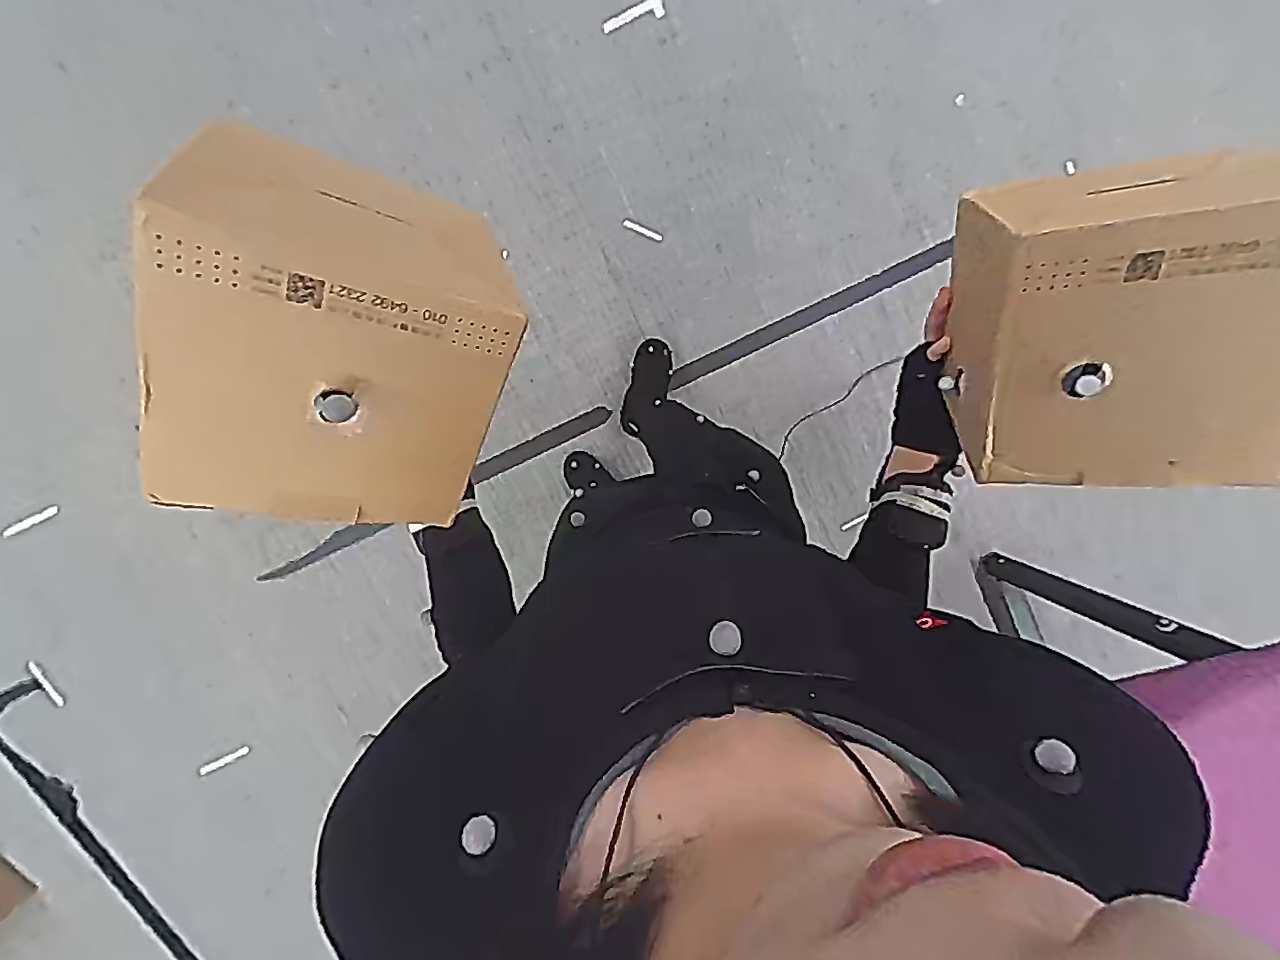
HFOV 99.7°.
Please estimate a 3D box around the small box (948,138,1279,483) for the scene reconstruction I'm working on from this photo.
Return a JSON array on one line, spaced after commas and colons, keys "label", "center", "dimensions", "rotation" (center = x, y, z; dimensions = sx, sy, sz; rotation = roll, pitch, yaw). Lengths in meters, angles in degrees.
[{"label": "small box", "center": [0.321, -0.114, 0.360], "dimensions": [0.168, 0.179, 0.176], "rotation": [1, 124, 19]}]
